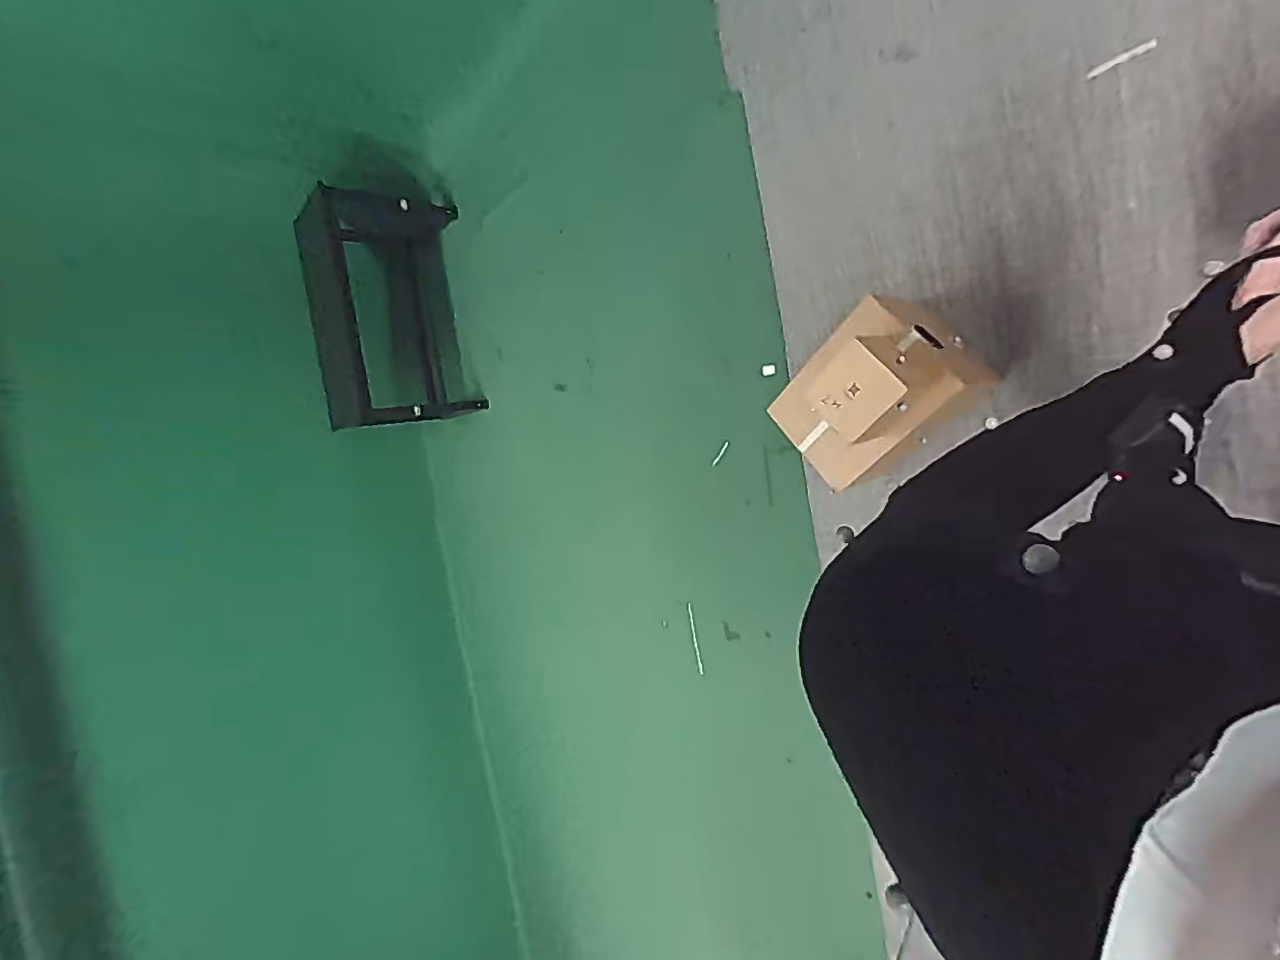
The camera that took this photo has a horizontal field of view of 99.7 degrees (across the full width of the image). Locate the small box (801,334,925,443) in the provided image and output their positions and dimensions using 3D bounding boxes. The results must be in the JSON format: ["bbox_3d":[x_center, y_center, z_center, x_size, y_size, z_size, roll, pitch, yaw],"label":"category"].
[{"bbox_3d":[0.509,-0.209,1.219,0.168,0.176,0.179,55,133,21],"label":"small box"}]

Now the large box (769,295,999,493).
[{"bbox_3d":[0.638,-0.229,1.444,0.320,0.320,0.408,57,134,23],"label":"large box"}]
